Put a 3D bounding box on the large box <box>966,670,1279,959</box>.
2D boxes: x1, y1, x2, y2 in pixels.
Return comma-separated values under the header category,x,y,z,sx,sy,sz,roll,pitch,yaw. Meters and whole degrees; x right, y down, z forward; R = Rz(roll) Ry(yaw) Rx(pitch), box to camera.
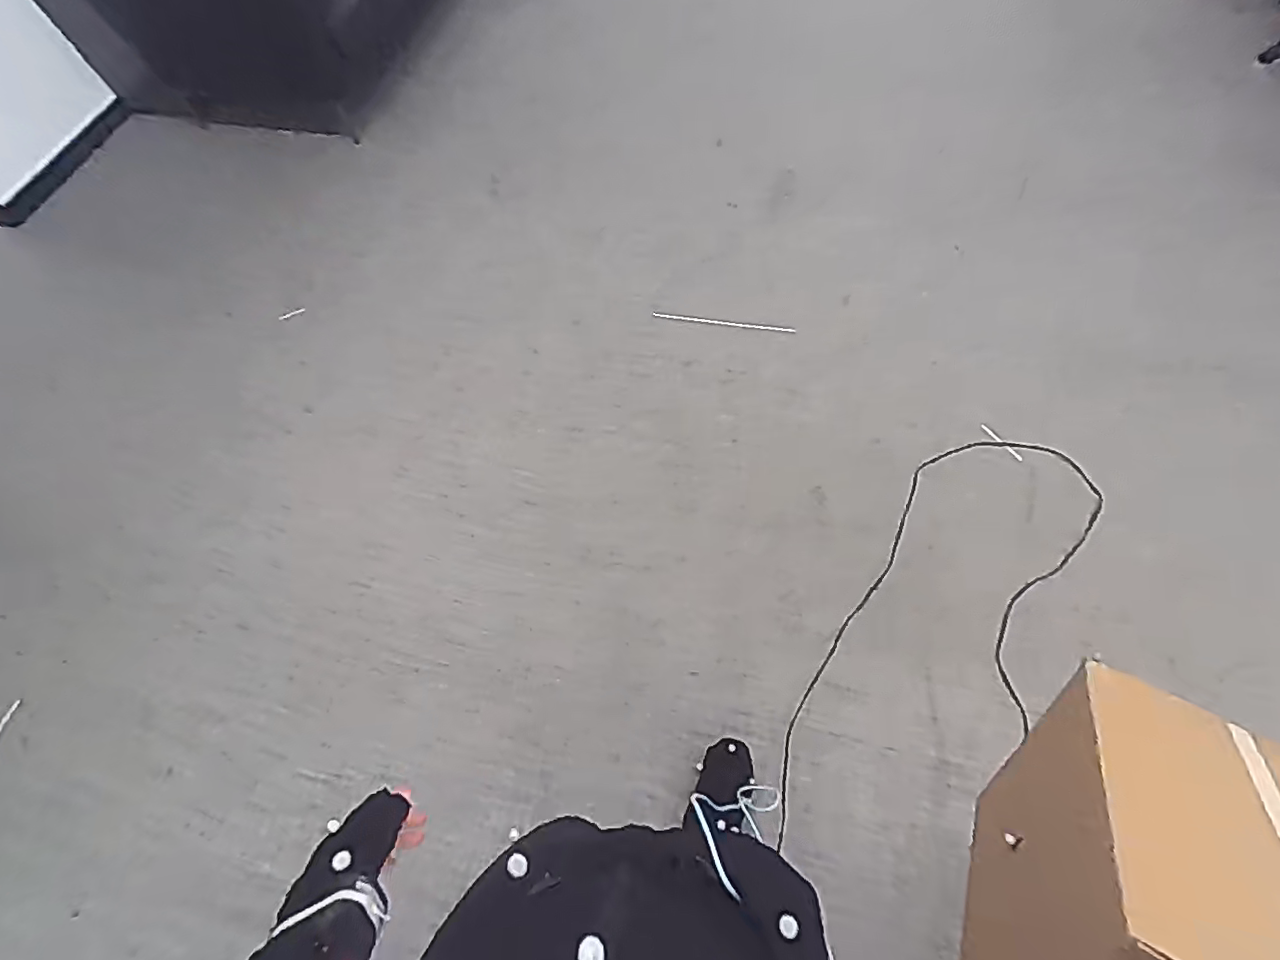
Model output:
category,x,y,z,sx,sy,sz,roll,pitch,yaw
large box,0.582,0.504,0.580,0.320,0.320,0.408,28,30,25
